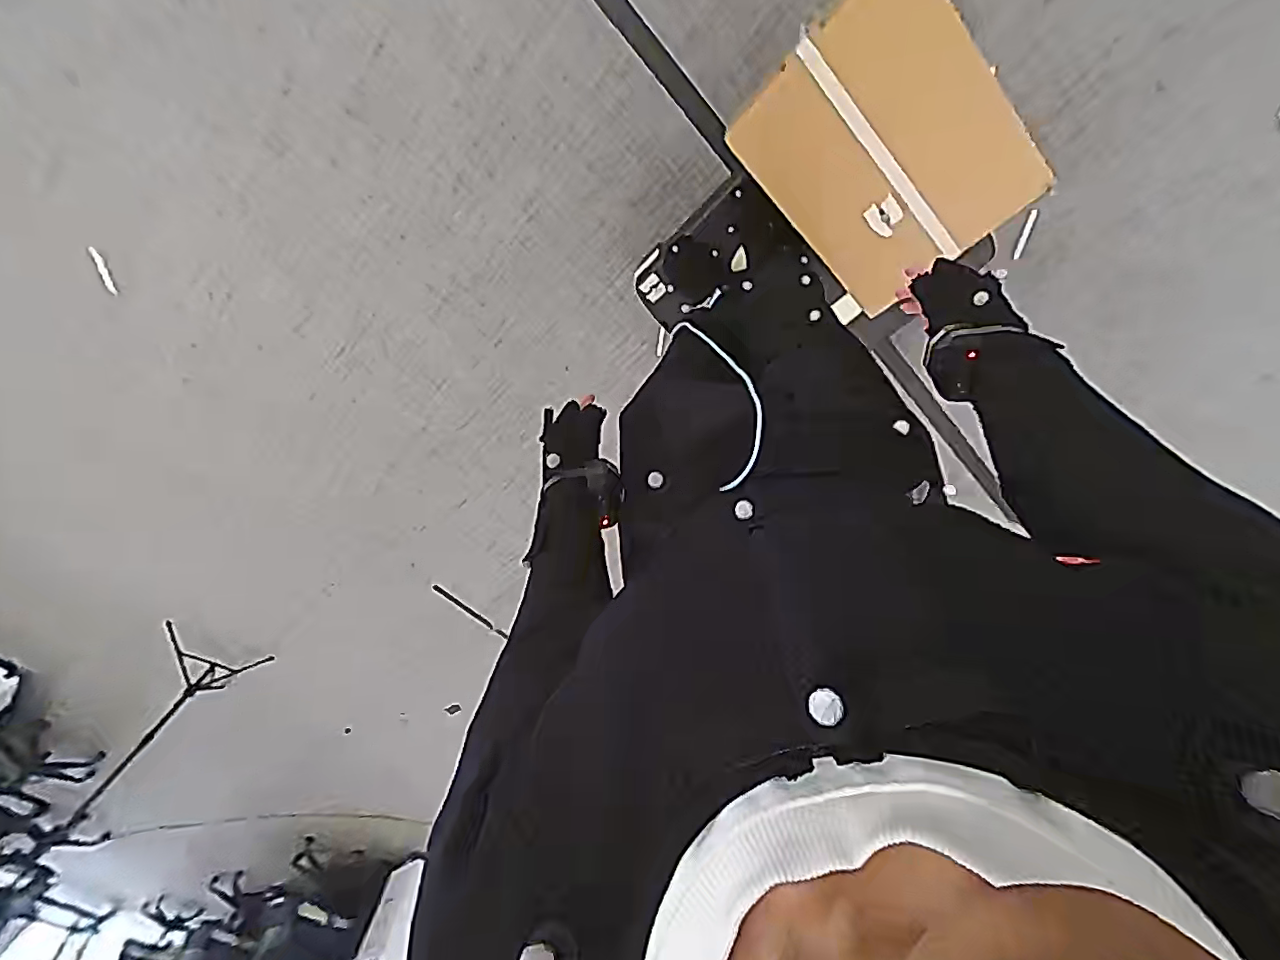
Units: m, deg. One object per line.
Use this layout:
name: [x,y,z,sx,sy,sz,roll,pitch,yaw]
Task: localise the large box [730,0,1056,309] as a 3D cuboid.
large box: [0.405,-0.593,0.945,0.408,0.320,0.320,39,127,-20]
